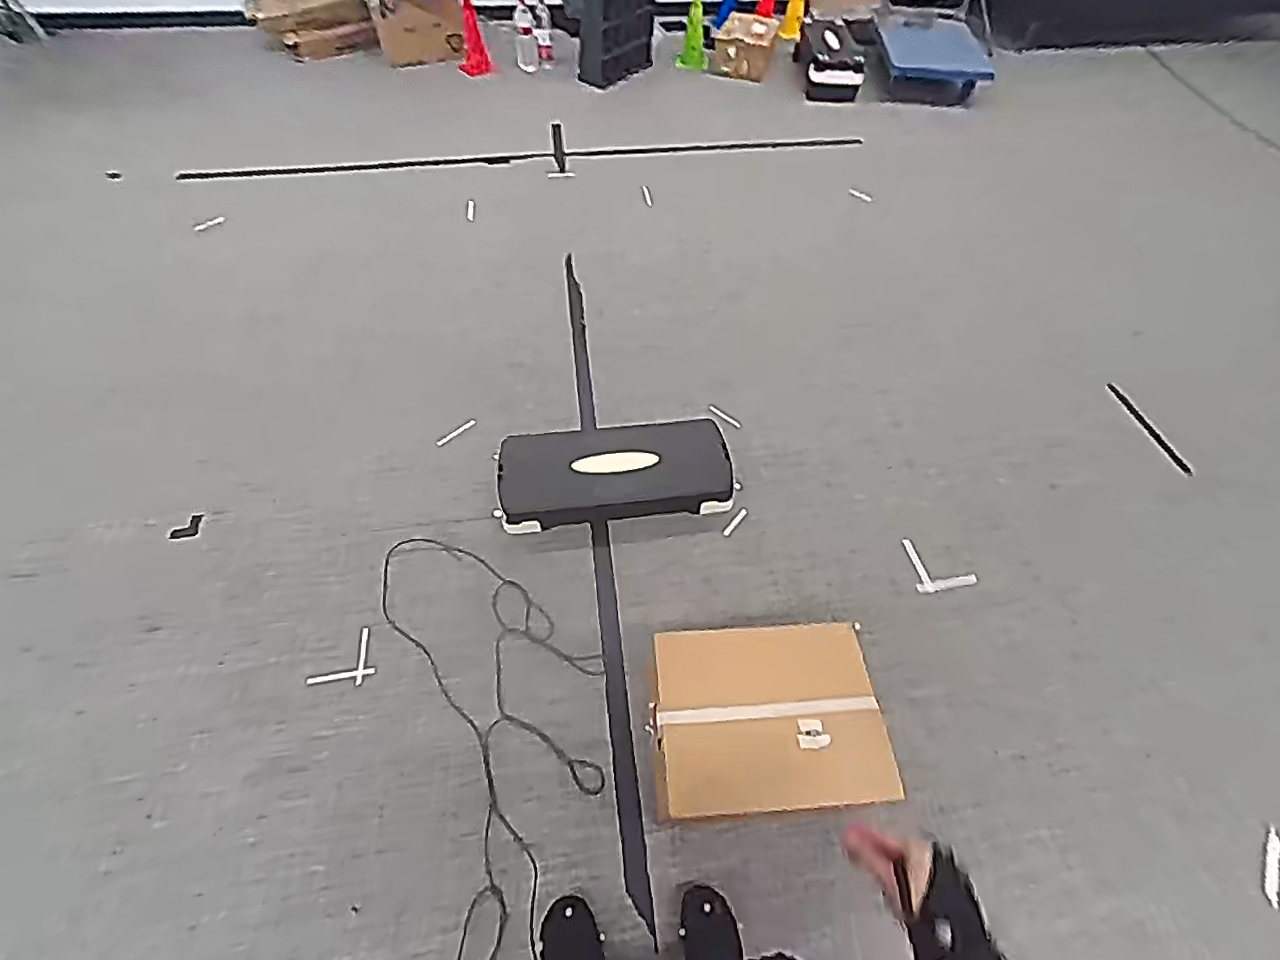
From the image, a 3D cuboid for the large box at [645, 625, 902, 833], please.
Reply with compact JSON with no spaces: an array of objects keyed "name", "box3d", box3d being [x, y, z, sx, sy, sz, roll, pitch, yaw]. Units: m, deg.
[{"name":"large box","box3d":[0.230,0.513,1.105,0.408,0.320,0.320,-2,56,-5]}]
